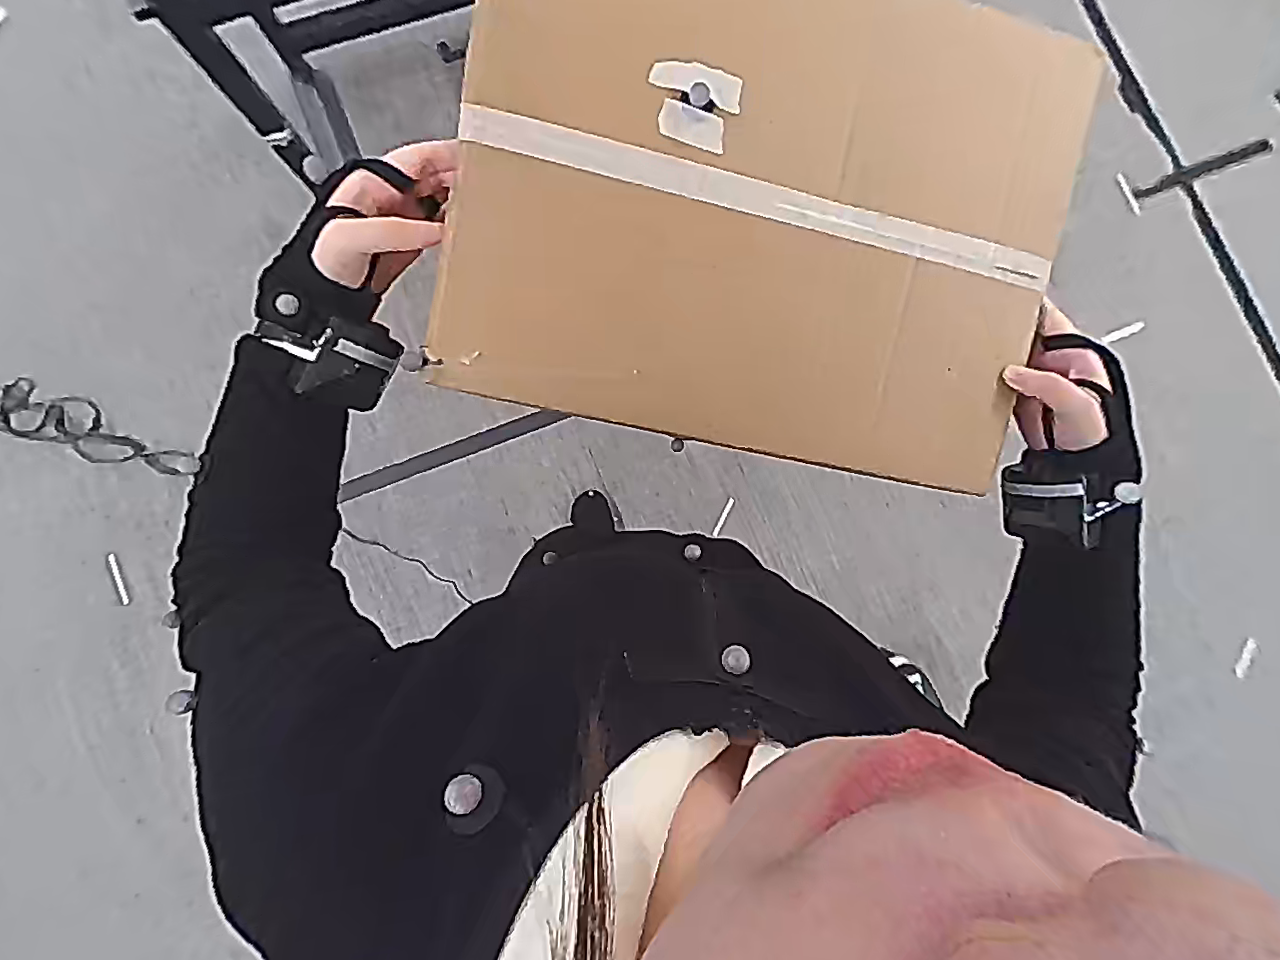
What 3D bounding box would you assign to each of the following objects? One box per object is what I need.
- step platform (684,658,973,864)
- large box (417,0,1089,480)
[{"bbox_3d":[0.470,0.698,1.378,0.684,0.204,0.286,-16,86,-5],"label":"step platform"},{"bbox_3d":[0.063,-0.197,0.495,0.408,0.320,0.320,10,96,-7],"label":"large box"}]
